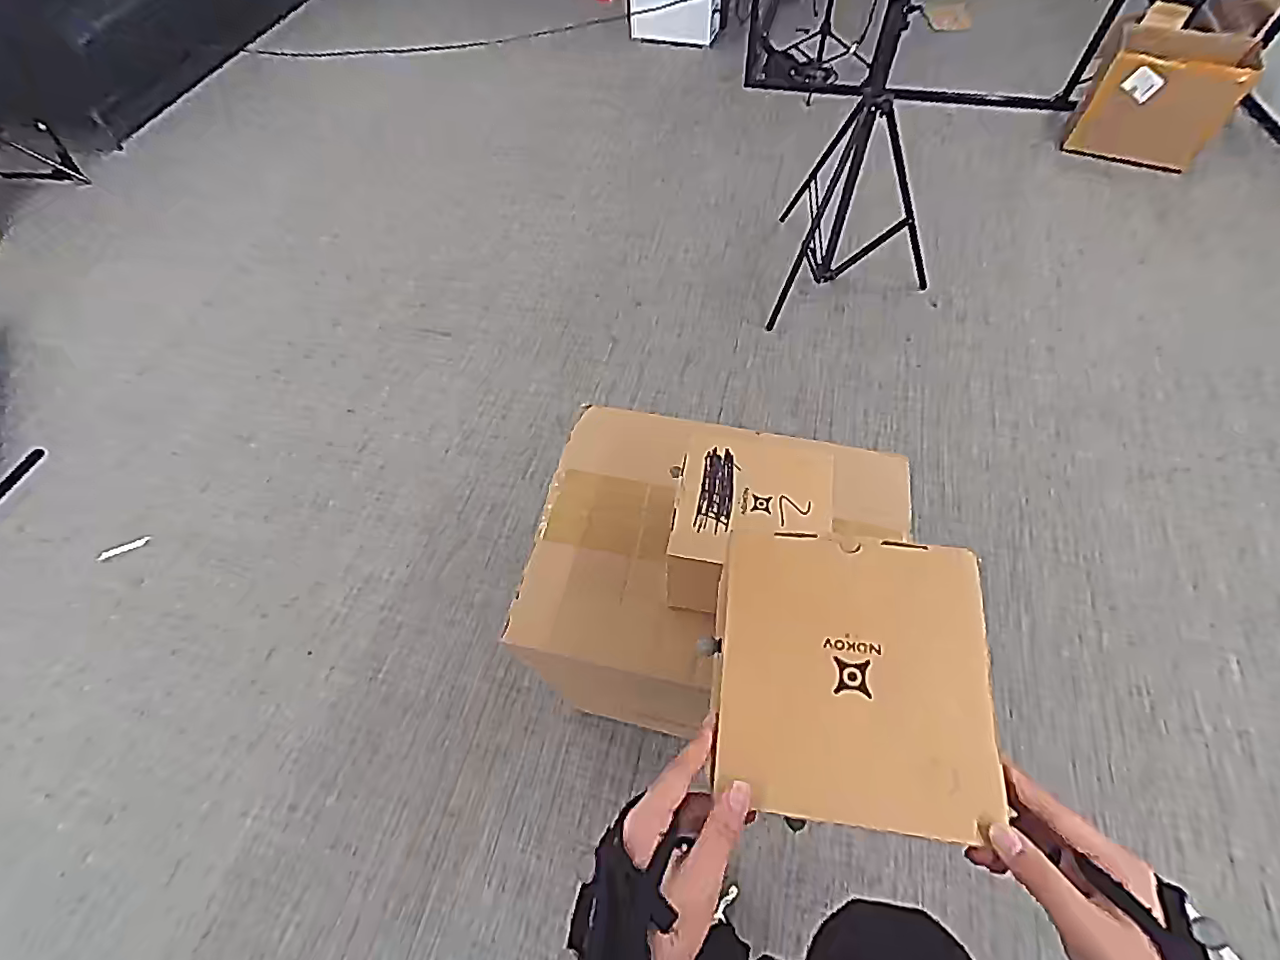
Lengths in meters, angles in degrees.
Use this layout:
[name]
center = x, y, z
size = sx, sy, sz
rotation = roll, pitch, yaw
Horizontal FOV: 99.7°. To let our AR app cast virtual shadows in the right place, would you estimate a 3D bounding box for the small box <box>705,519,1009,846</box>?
[small box]
center = 0.139, 0.145, 0.407
size = 0.168, 0.176, 0.179
rotation = 4, 66, 8
